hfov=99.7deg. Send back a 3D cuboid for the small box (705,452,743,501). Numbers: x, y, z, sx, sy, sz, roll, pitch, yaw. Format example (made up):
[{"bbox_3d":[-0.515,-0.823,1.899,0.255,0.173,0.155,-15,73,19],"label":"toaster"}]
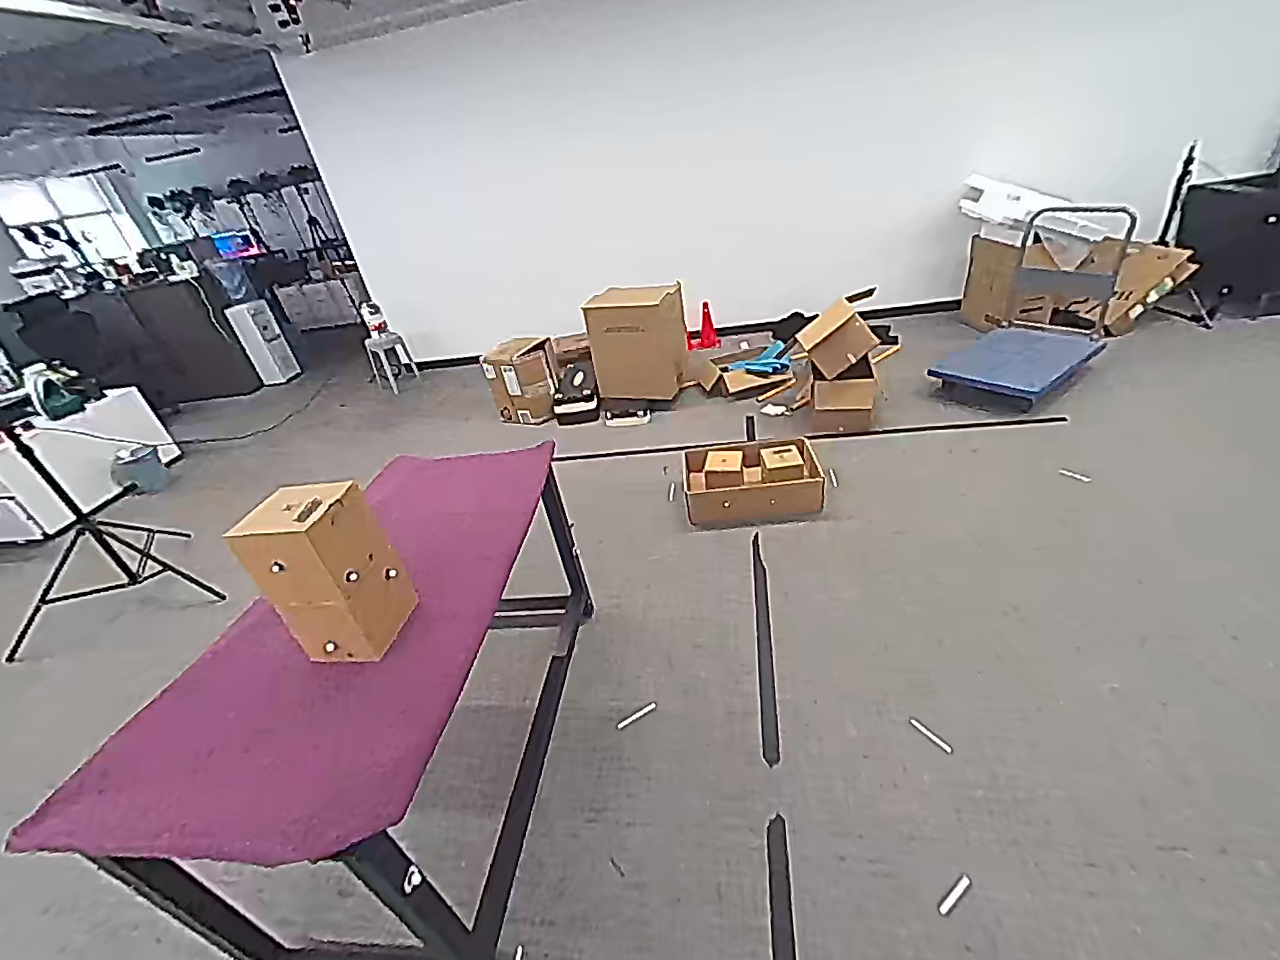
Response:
[{"bbox_3d":[0.405,-0.019,2.588,0.168,0.176,0.179,0,33,15],"label":"small box"}]

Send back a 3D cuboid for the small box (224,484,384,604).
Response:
[{"bbox_3d":[-0.644,0.126,1.065,0.179,0.176,0.168,-5,32,10],"label":"small box"}]

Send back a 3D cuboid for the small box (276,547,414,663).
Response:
[{"bbox_3d":[-0.610,0.264,1.149,0.168,0.176,0.179,-4,32,12],"label":"small box"}]
